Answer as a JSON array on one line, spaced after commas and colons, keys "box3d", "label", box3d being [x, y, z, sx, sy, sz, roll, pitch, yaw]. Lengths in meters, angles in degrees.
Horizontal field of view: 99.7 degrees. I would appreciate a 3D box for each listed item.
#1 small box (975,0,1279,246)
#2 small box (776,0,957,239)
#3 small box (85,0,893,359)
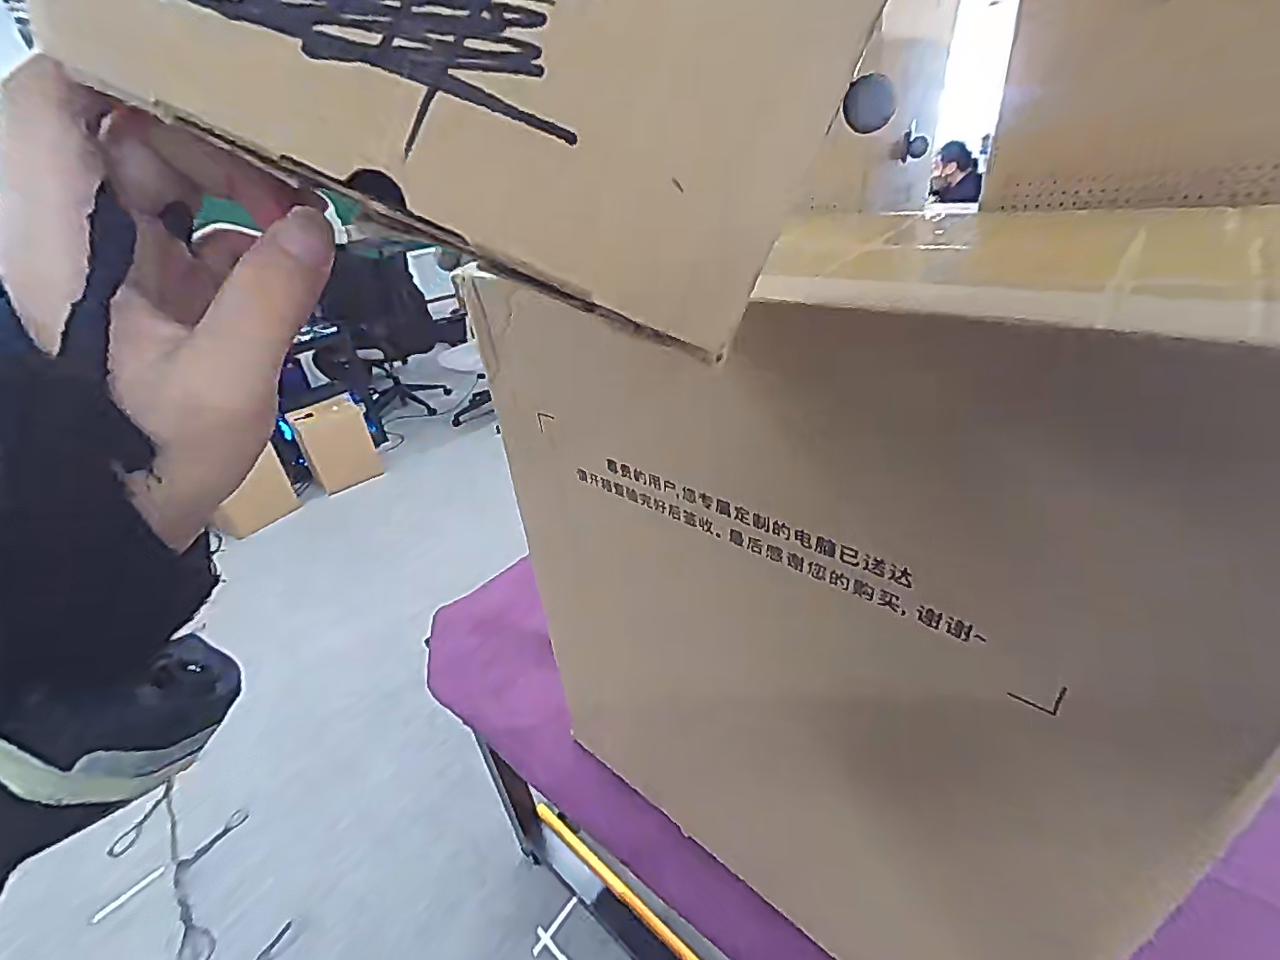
[{"box3d": [0.339, -0.253, 0.342, 0.179, 0.176, 0.168, 15, 36, 34], "label": "small box"}, {"box3d": [0.147, -0.315, 0.478, 0.179, 0.176, 0.168, 21, 41, 36], "label": "small box"}, {"box3d": [-0.011, -0.154, 0.179, 0.168, 0.179, 0.176, 25, 15, 0], "label": "small box"}]
